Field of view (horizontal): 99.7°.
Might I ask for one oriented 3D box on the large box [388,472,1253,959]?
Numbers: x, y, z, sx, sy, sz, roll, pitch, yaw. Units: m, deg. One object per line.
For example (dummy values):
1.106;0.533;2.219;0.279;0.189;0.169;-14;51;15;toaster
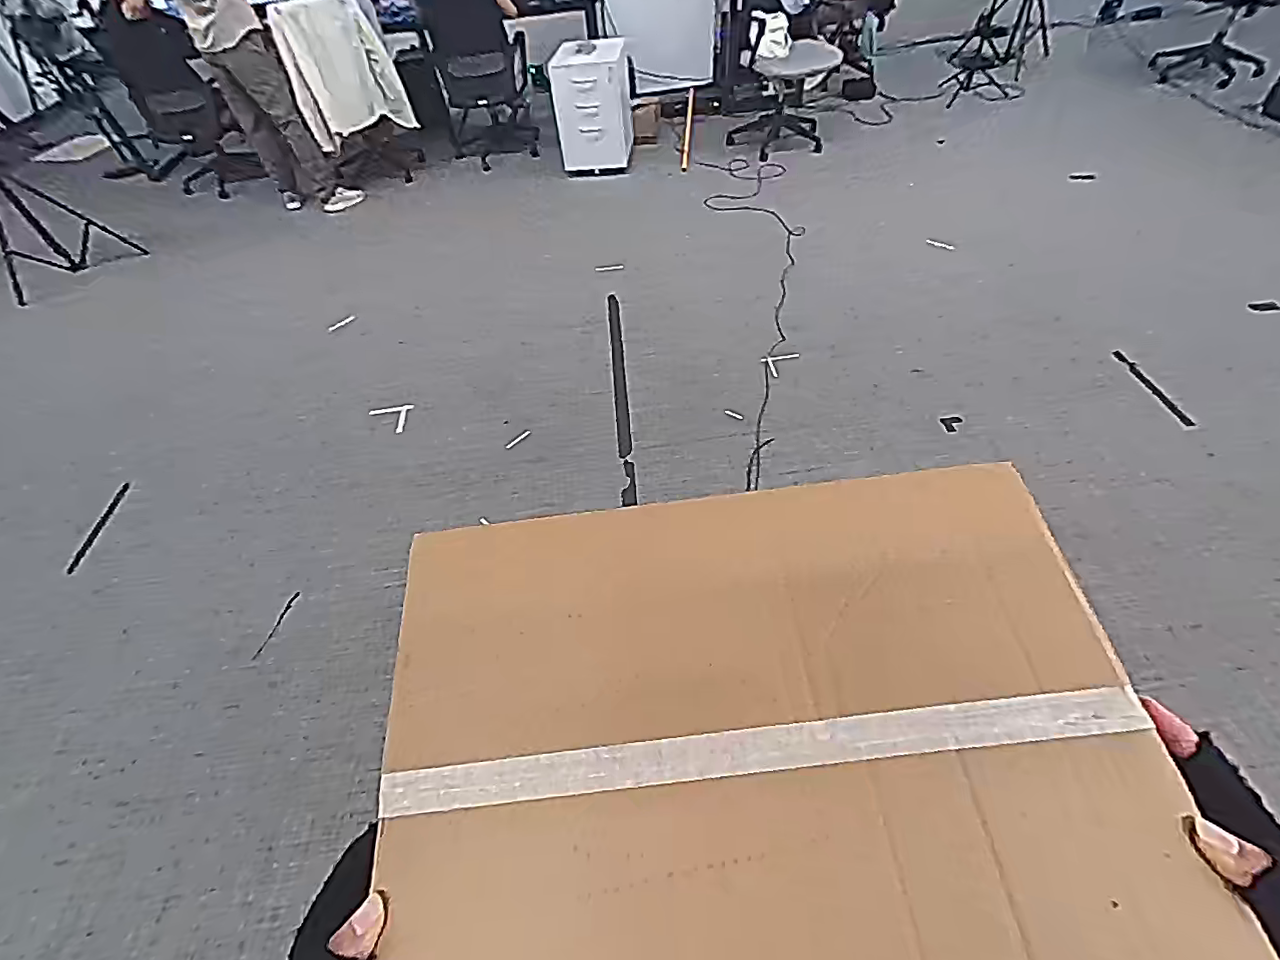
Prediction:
0.077;0.226;0.425;0.408;0.320;0.320;-7;60;2;large box
